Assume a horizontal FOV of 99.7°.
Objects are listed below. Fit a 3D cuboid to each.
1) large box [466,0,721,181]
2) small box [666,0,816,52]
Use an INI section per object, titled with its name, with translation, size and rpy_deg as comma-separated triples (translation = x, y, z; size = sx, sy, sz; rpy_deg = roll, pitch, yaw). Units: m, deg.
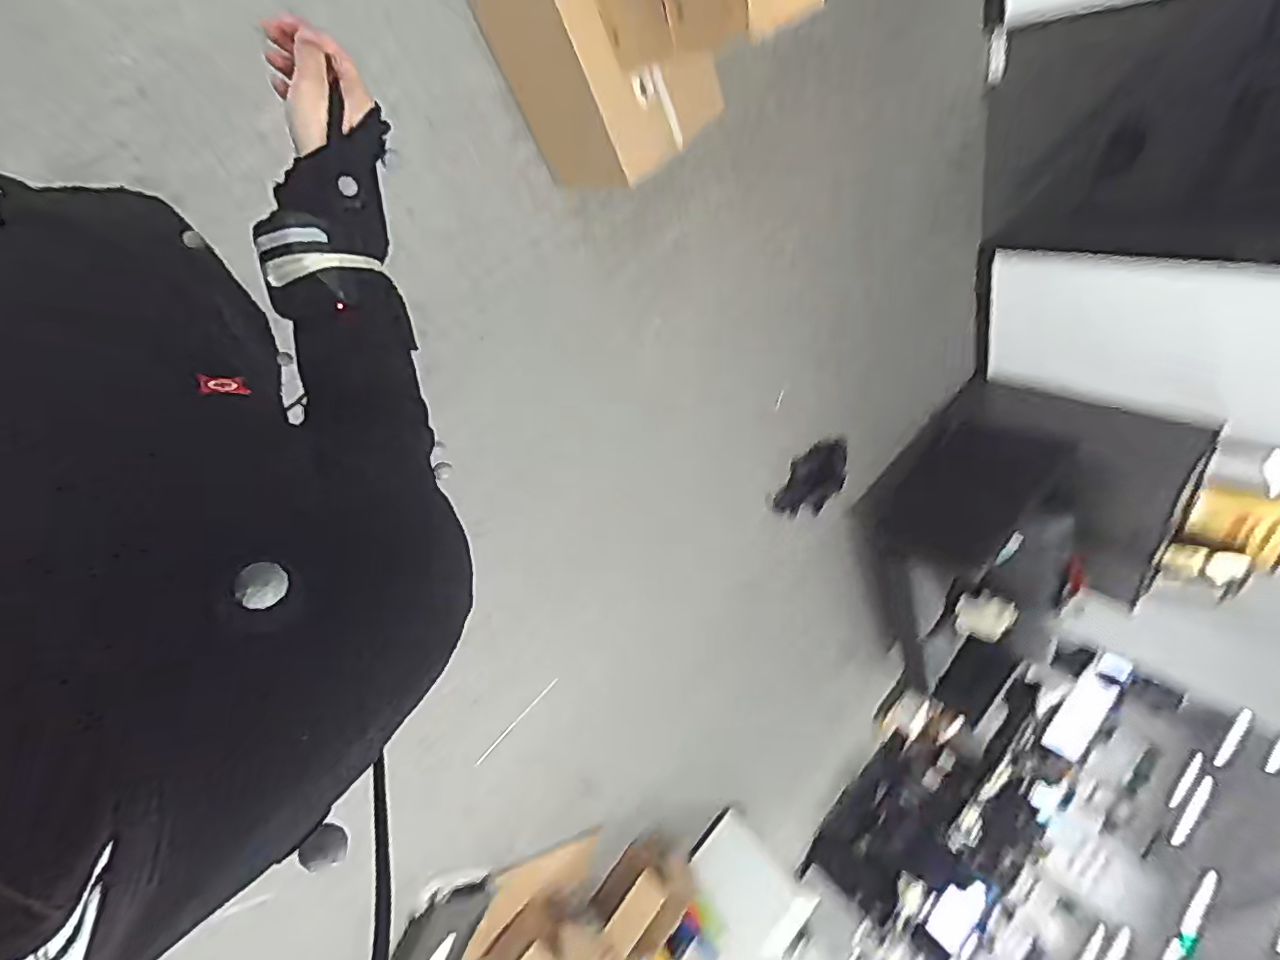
[large box]
translation = -0.091, -0.911, 1.143
size = 0.320, 0.320, 0.408
rpy_deg = -44, 135, -13
[small box]
translation = 0.151, -0.798, 0.832
size = 0.179, 0.176, 0.168
rpy_deg = -41, 133, -17
